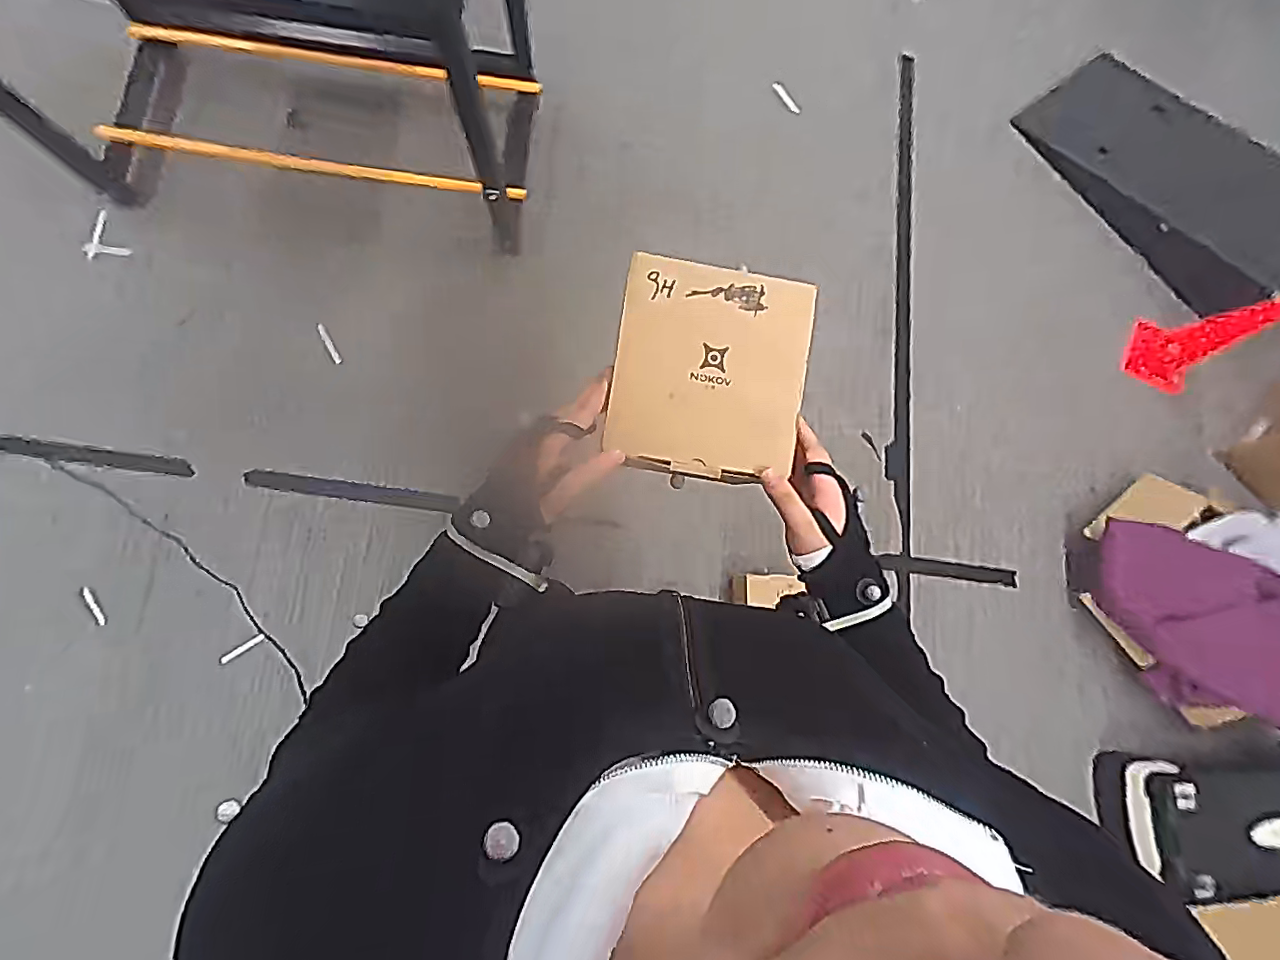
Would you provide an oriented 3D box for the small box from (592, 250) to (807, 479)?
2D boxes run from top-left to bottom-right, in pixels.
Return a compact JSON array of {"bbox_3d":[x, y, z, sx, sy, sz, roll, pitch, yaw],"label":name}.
[{"bbox_3d":[0.047,-0.099,0.540,0.168,0.176,0.179,8,90,-4],"label":"small box"}]

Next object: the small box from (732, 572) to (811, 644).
[{"bbox_3d":[0.344,0.336,1.439,0.168,0.176,0.179,1,80,-4],"label":"small box"}]
